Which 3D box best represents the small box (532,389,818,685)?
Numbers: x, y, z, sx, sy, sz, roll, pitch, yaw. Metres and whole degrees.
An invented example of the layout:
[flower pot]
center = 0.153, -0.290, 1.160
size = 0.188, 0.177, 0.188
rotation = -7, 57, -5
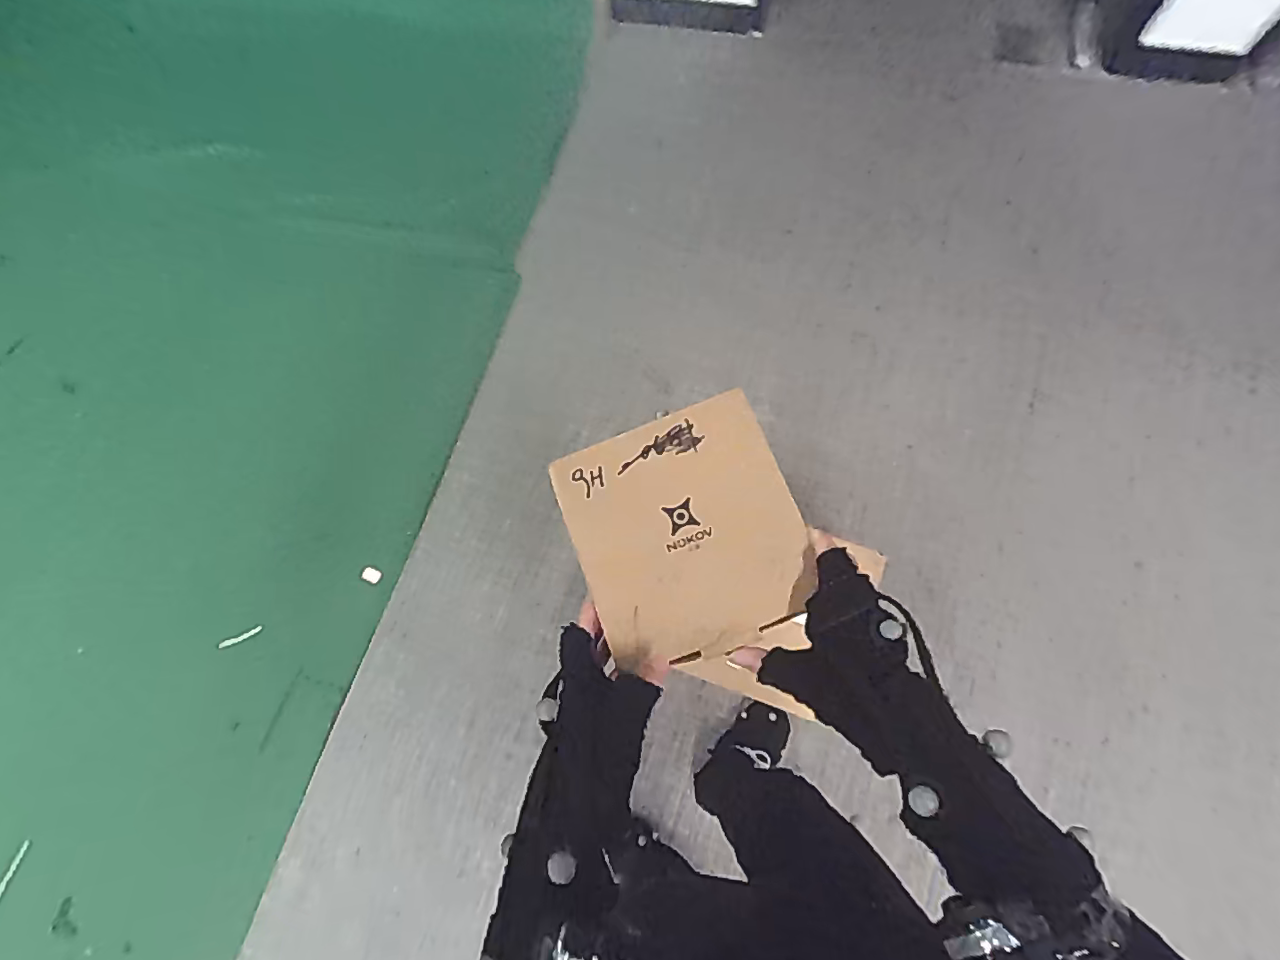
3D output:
[small box]
center = 0.031, 0.052, 0.474
size = 0.168, 0.176, 0.179
rotation = -23, 78, 2
